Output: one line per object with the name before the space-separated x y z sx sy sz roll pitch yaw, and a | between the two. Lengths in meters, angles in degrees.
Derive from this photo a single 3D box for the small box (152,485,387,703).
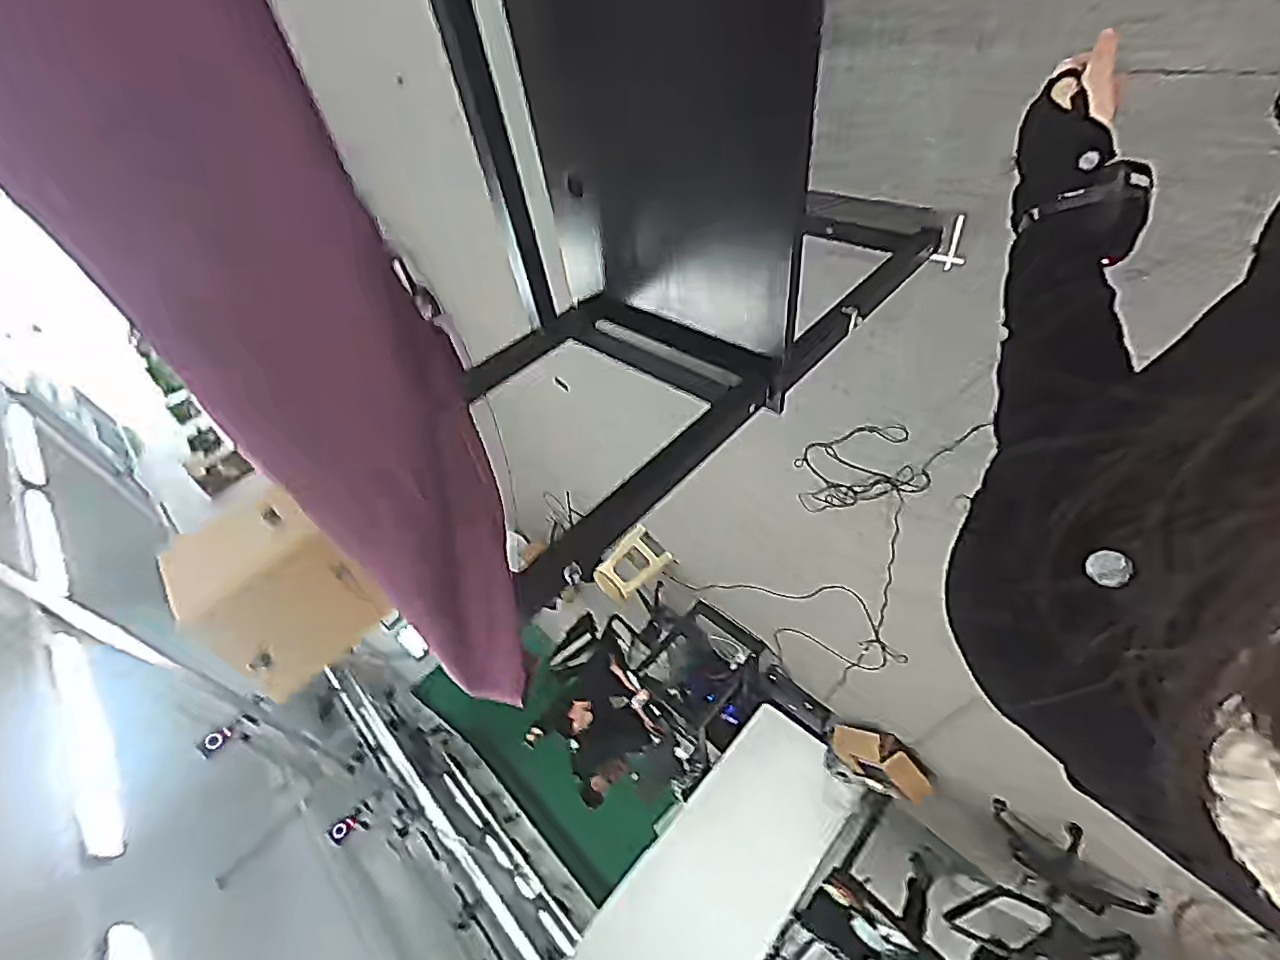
small box | -0.454 0.131 0.680 0.179 0.176 0.168 28 148 40
